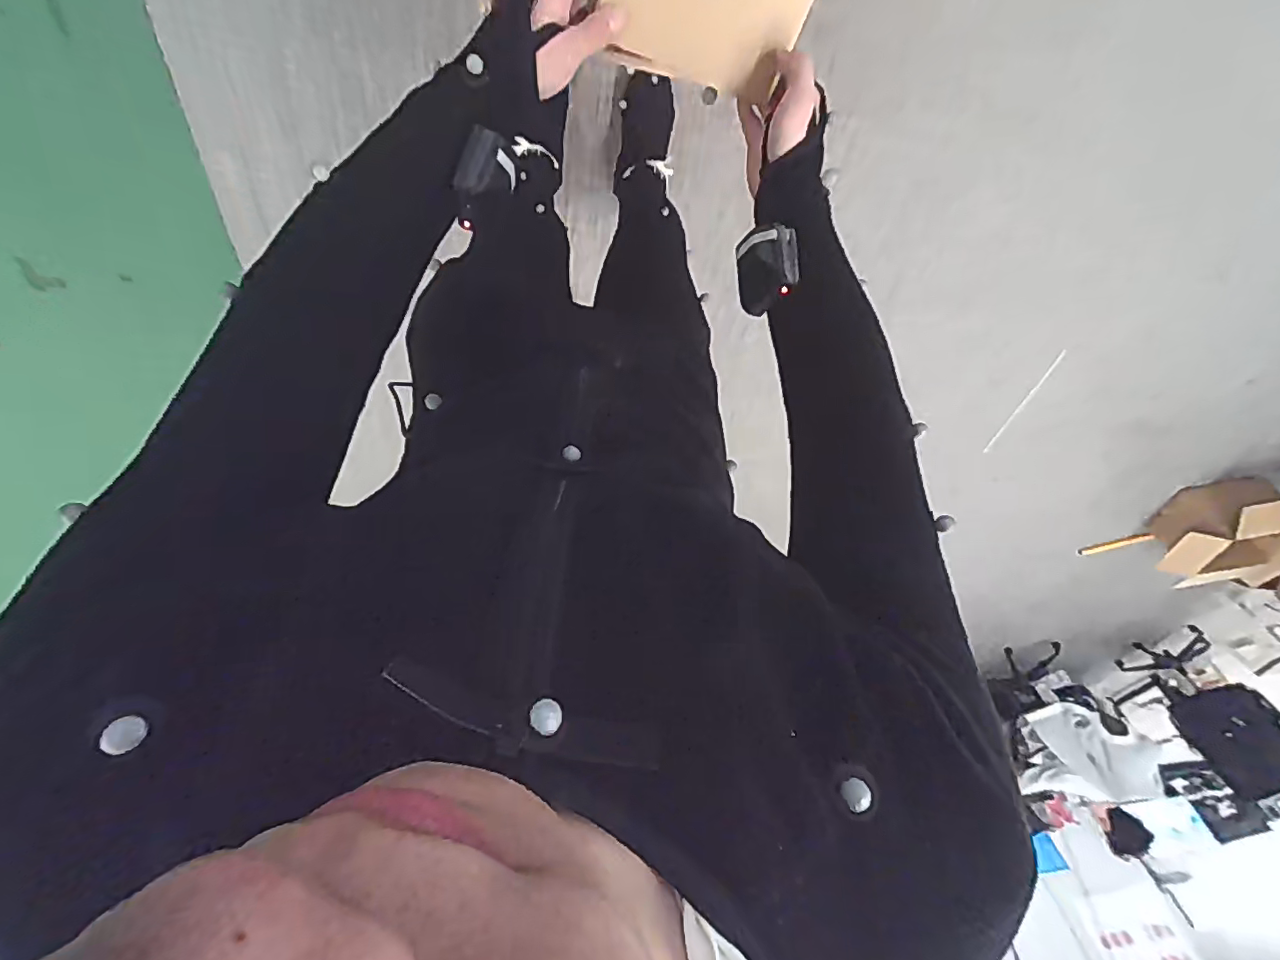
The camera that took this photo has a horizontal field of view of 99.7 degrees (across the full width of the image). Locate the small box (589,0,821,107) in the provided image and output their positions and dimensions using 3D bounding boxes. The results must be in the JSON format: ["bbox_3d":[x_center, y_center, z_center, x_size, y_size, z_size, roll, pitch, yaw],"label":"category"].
[{"bbox_3d":[0.062,-0.476,0.482,0.179,0.176,0.168,9,134,-20],"label":"small box"}]
